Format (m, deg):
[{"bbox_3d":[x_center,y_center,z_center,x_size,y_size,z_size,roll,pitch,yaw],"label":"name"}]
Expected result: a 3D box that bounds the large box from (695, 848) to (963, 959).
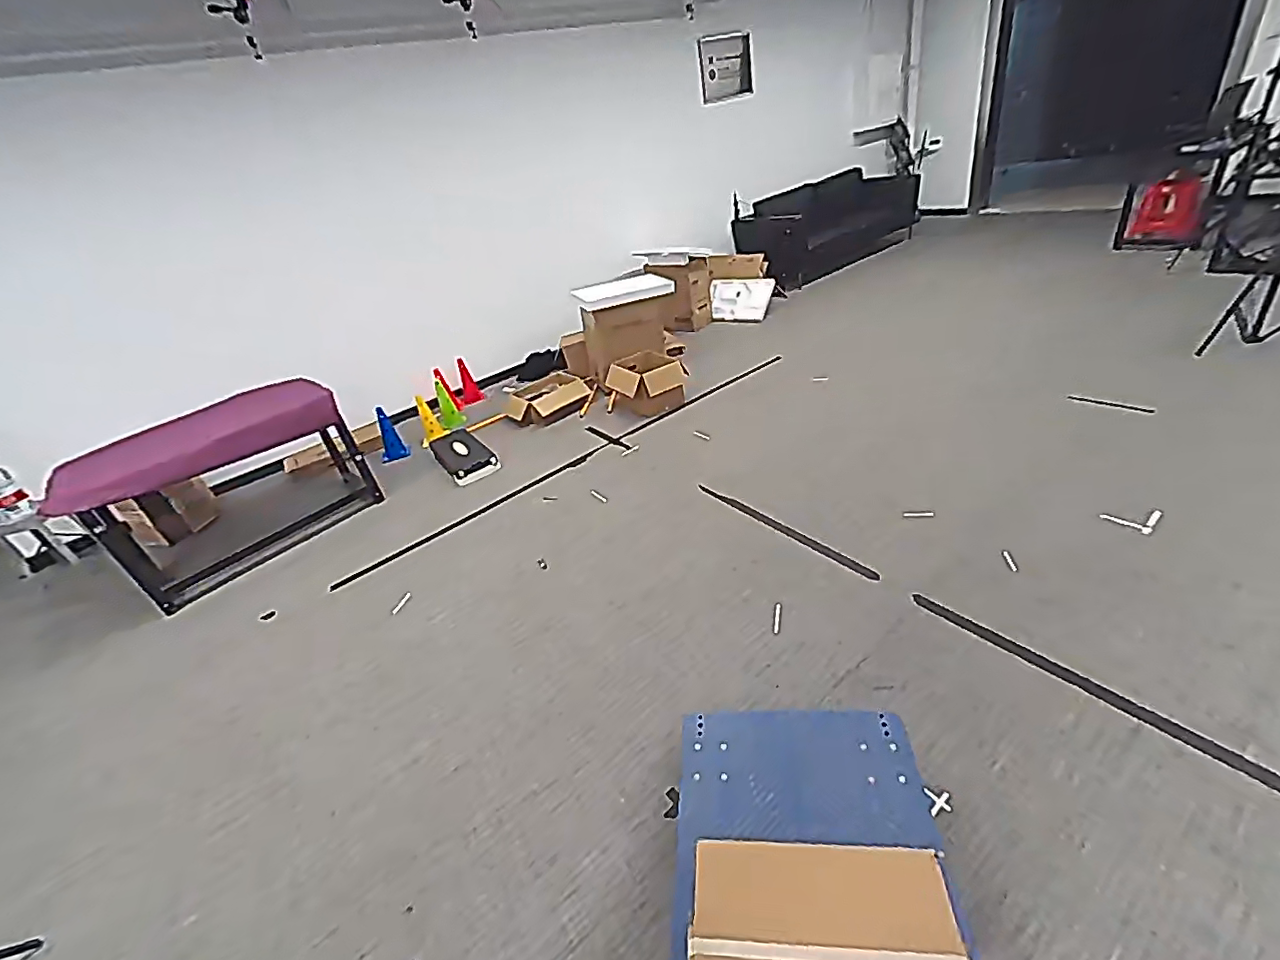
[{"bbox_3d":[0.303,0.858,0.893,0.408,0.320,0.320,-4,33,11],"label":"large box"}]
